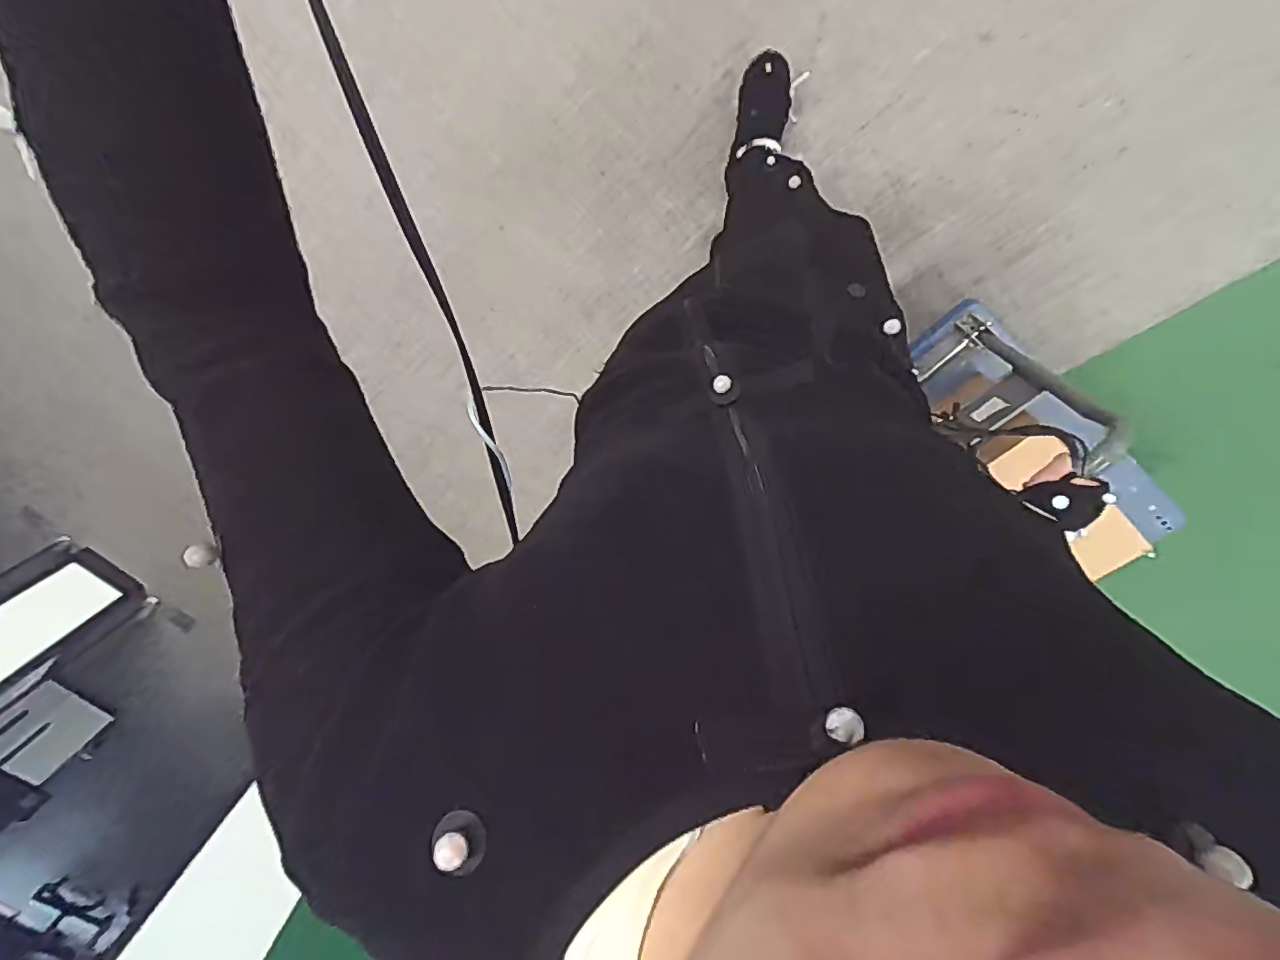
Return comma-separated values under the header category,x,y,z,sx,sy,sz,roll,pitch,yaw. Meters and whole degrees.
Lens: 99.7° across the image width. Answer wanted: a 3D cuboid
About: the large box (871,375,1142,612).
category,x,y,z,sx,sy,sz,roll,pitch,yaw
large box,0.833,0.026,1.288,0.408,0.320,0.320,40,119,-14
